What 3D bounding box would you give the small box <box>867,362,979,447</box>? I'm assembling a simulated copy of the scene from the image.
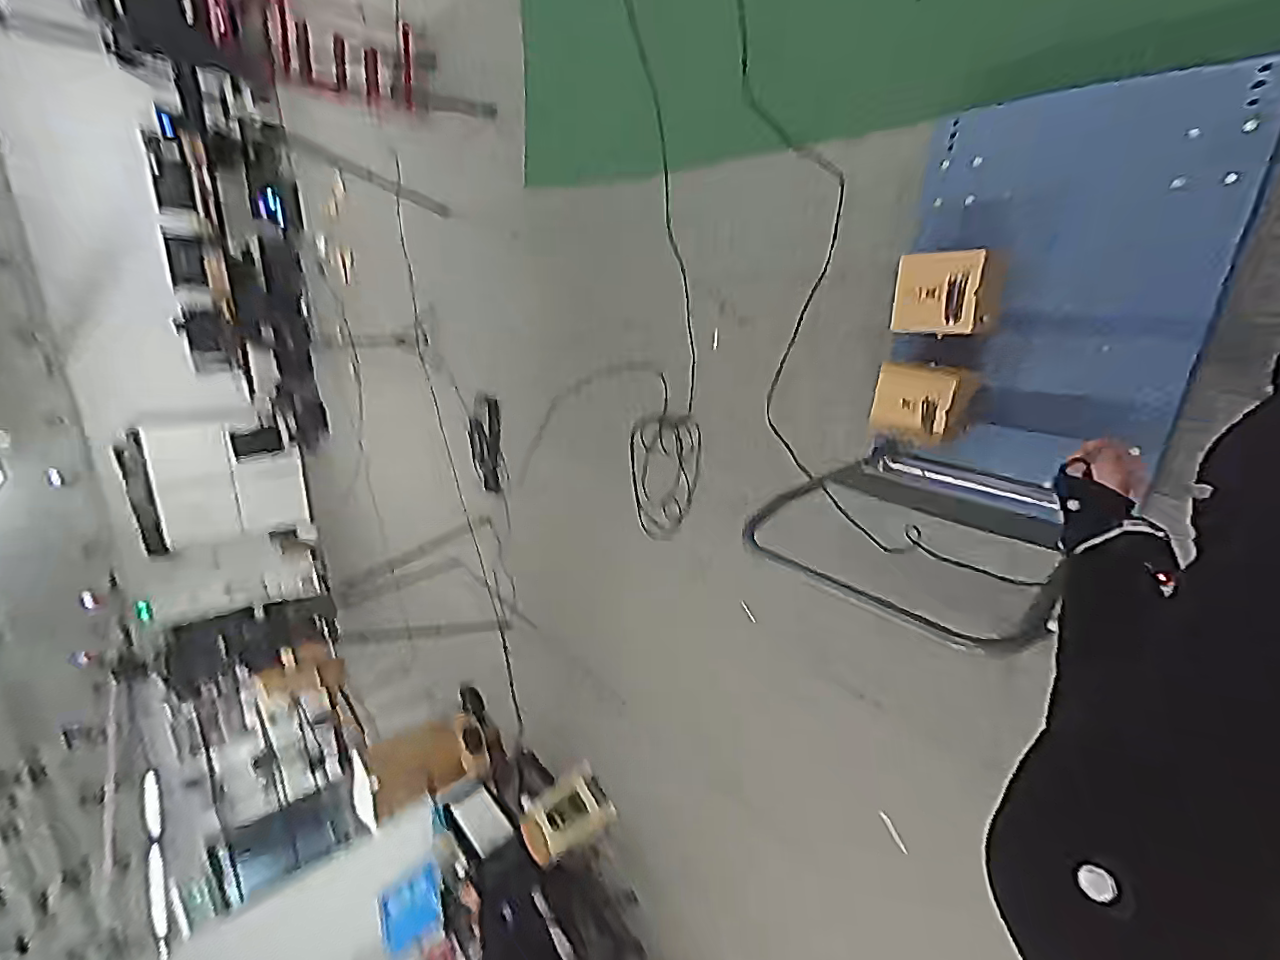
[{"bbox_3d":[0.688,-0.192,1.313,0.179,0.176,0.168,25,118,43],"label":"small box"}]
